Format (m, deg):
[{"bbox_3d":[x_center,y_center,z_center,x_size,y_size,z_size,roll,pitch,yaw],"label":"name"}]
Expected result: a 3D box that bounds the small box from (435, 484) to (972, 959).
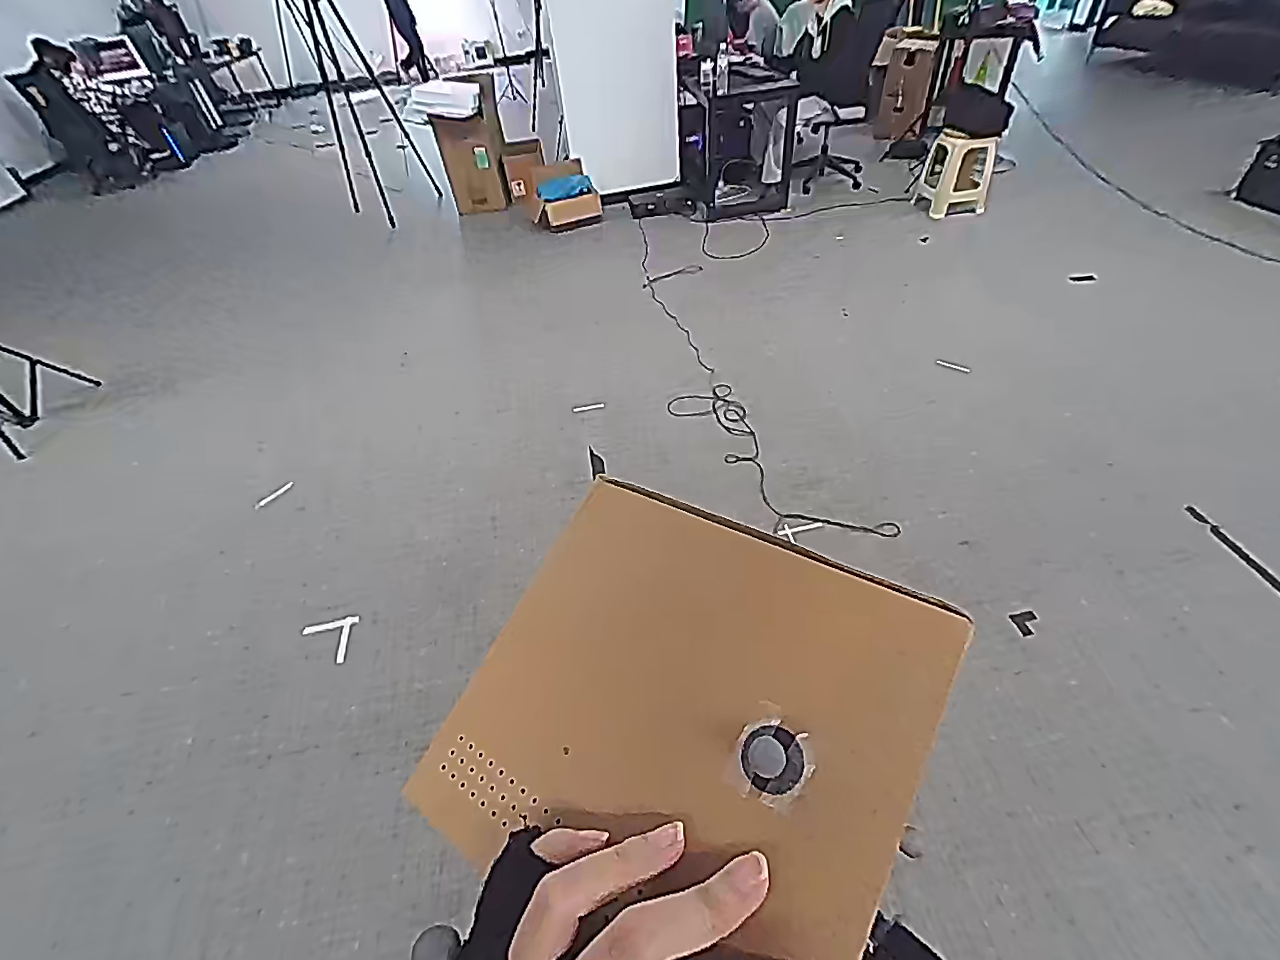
[{"bbox_3d":[0.039,0.132,0.278,0.179,0.168,0.176,20,70,32],"label":"small box"}]
